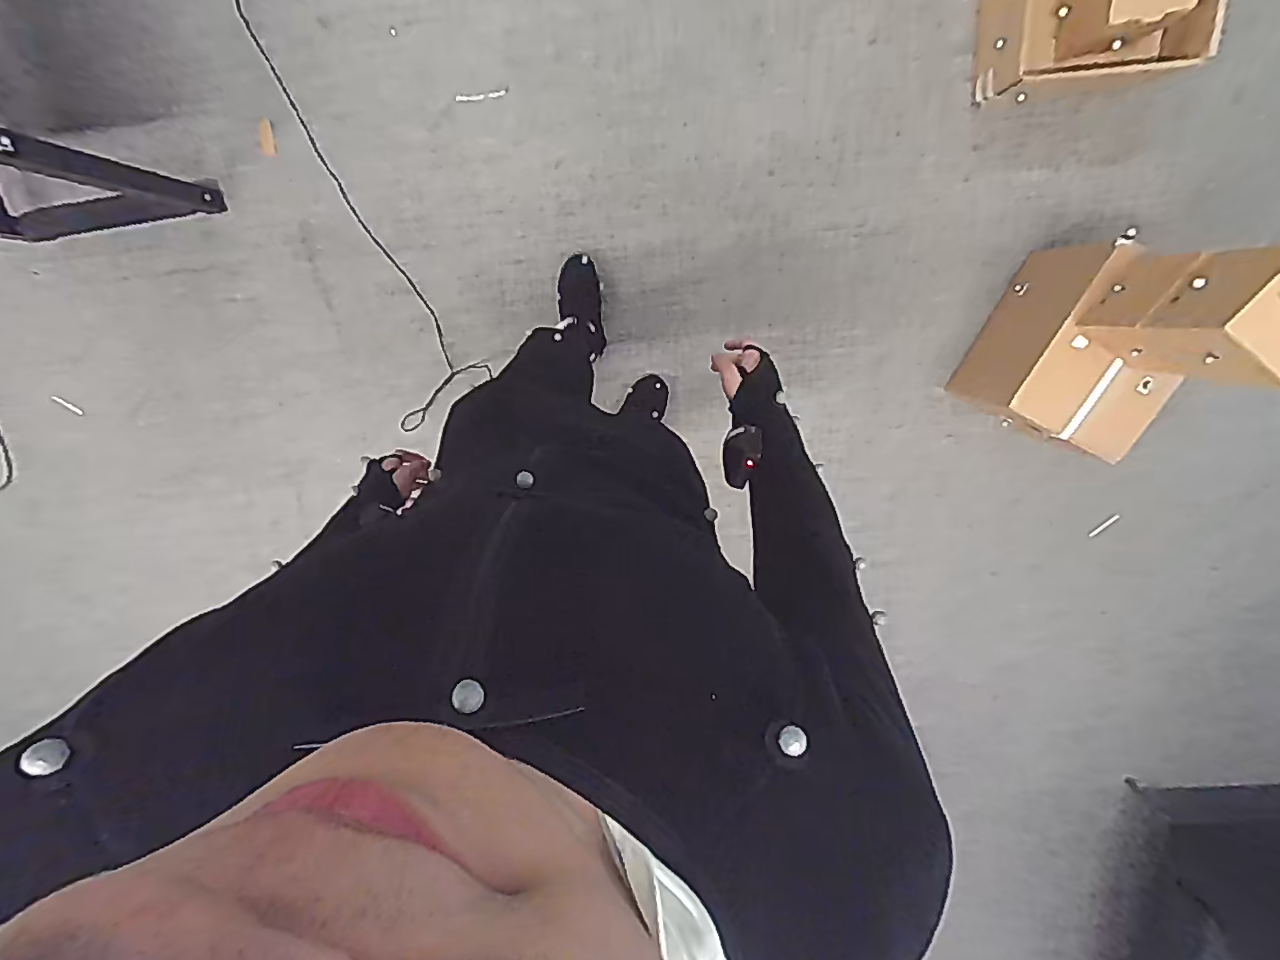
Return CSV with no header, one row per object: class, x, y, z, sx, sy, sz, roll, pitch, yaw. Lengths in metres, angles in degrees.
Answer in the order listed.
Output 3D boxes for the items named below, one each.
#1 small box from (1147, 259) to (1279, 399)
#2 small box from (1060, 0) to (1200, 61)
small box,1.055,-0.263,0.926,0.179,0.176,0.168,36,105,-6
small box,1.030,-1.026,1.143,0.168,0.176,0.179,-8,106,6
